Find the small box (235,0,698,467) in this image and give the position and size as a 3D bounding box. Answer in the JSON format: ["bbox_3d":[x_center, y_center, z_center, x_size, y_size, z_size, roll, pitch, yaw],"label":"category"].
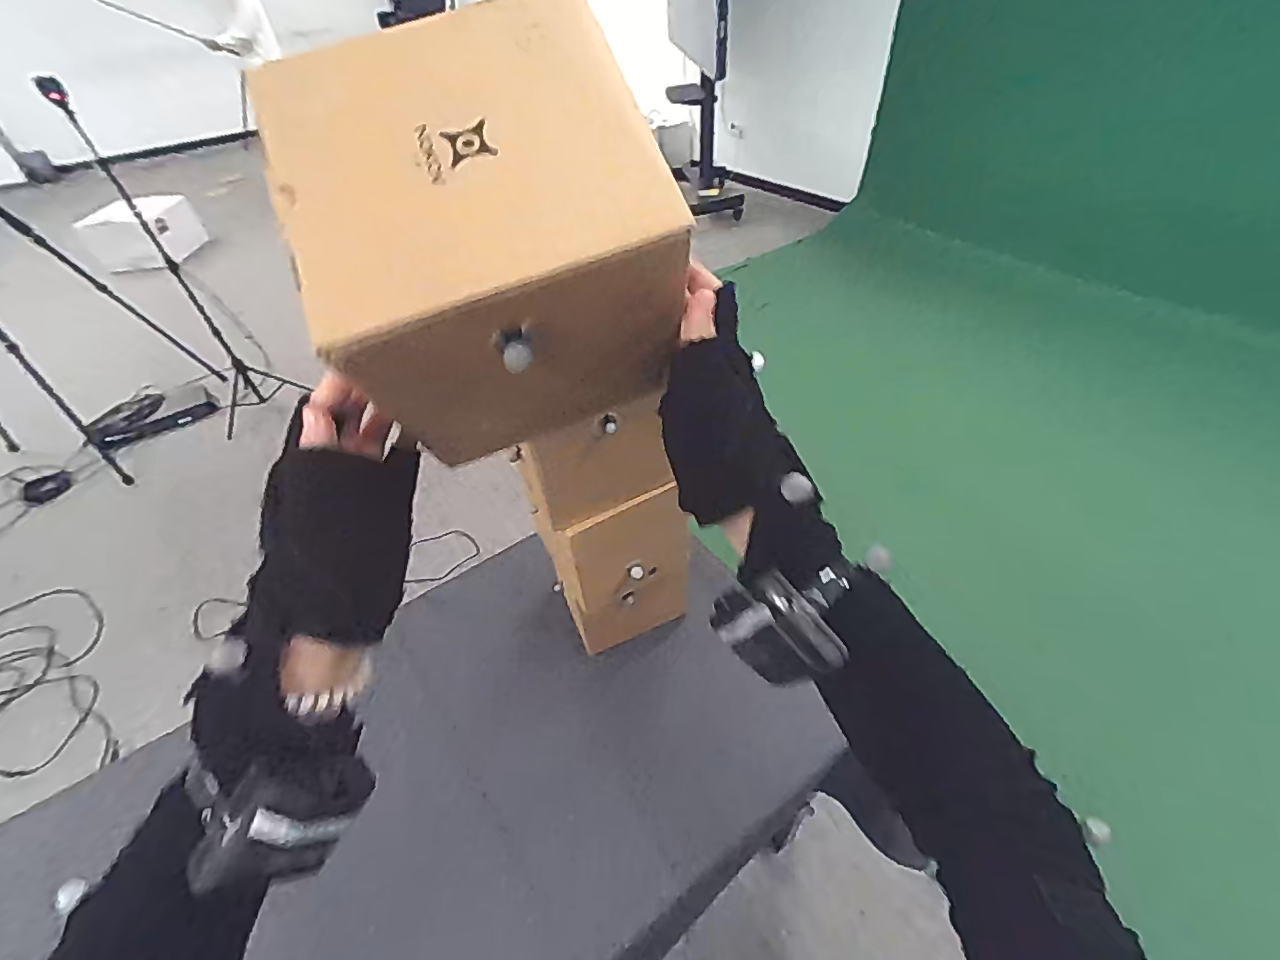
[{"bbox_3d":[-0.083,-0.127,0.323,0.179,0.176,0.168,-21,76,-5],"label":"small box"}]

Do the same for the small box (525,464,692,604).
[{"bbox_3d":[-0.045,0.031,0.731,0.168,0.176,0.179,-25,49,-18],"label":"small box"}]

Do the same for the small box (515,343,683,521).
[{"bbox_3d":[-0.061,-0.082,0.616,0.179,0.176,0.168,-23,49,-16],"label":"small box"}]

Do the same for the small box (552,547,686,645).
[{"bbox_3d":[-0.036,0.133,0.861,0.179,0.176,0.168,-20,47,-14],"label":"small box"}]
